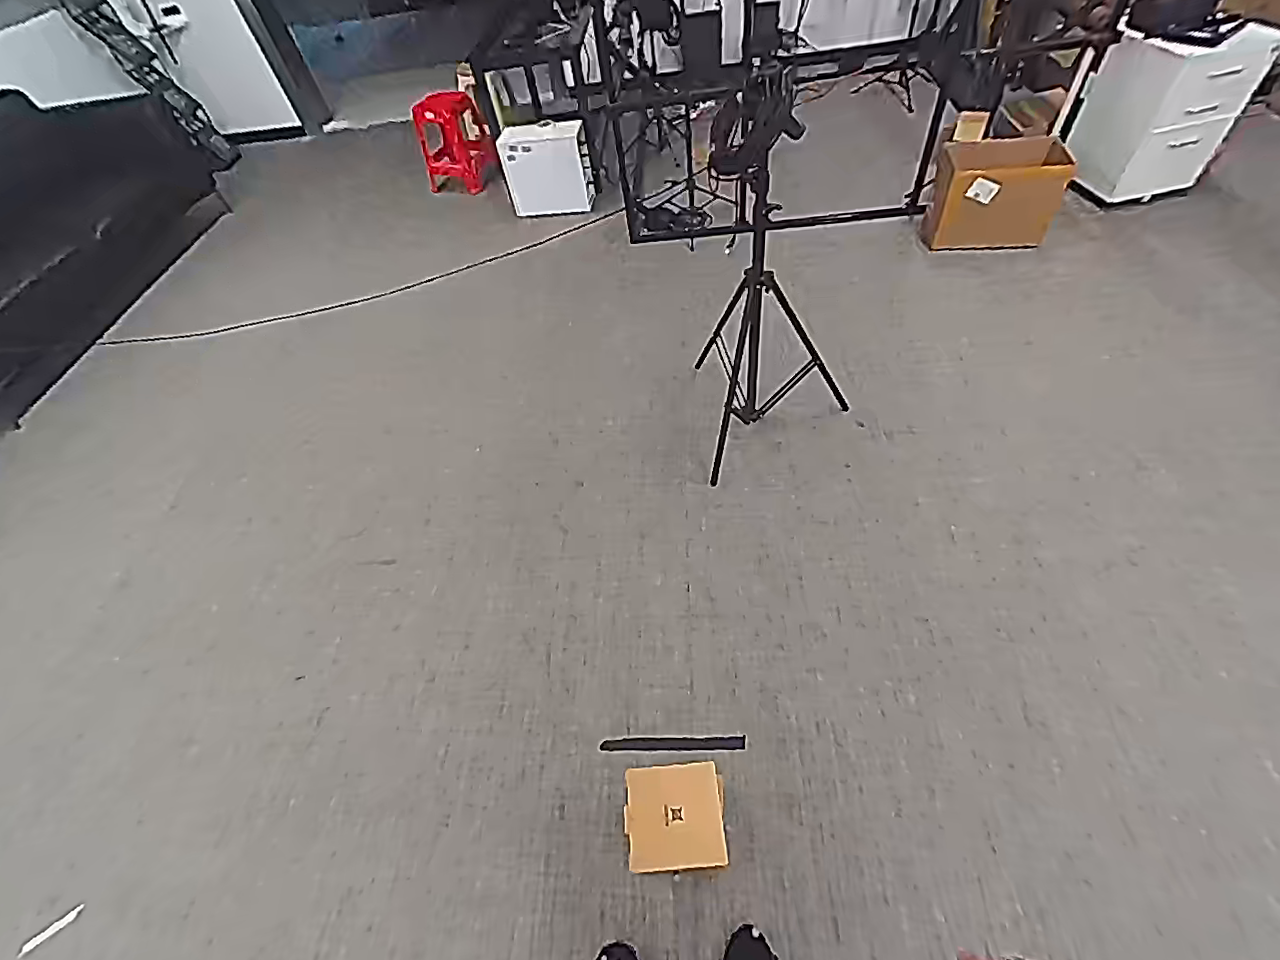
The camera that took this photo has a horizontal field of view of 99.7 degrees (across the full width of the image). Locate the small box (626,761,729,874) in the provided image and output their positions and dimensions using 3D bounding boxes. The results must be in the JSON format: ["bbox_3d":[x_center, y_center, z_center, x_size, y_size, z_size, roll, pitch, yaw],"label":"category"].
[{"bbox_3d":[0.074,0.657,1.049,0.179,0.176,0.168,-8,52,4],"label":"small box"}]
